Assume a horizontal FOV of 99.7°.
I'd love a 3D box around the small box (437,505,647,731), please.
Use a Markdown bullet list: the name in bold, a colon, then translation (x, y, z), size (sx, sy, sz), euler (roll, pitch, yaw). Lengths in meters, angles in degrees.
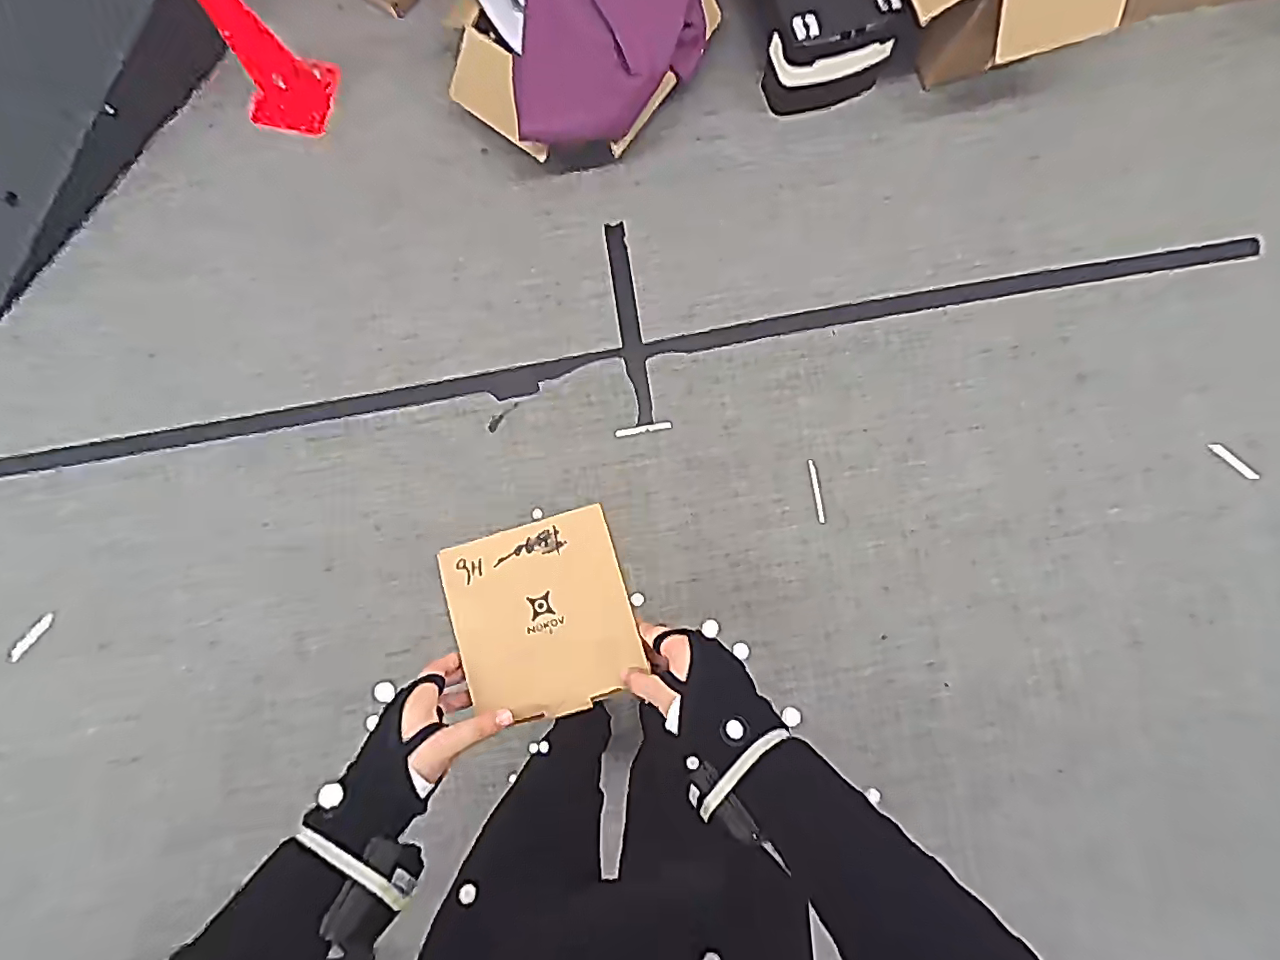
- **small box**: translation (-0.091, 0.137, 0.583), size (0.168, 0.176, 0.179), euler (-16, 81, -2)
